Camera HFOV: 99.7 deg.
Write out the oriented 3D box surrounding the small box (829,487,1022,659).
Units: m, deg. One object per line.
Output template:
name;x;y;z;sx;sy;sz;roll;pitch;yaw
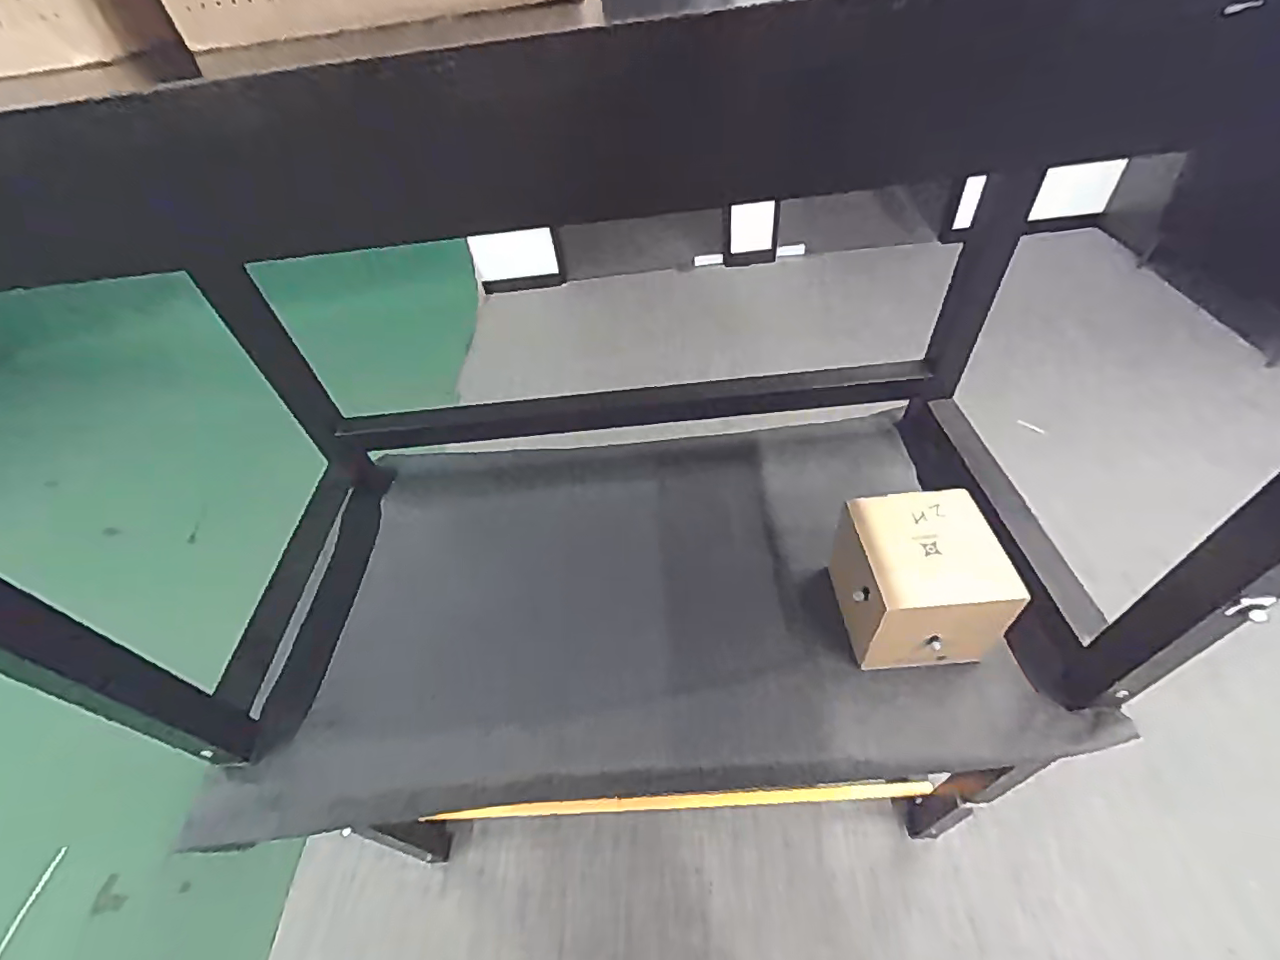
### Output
small box;0.374;0.135;0.748;0.168;0.176;0.179;-5;46;3
